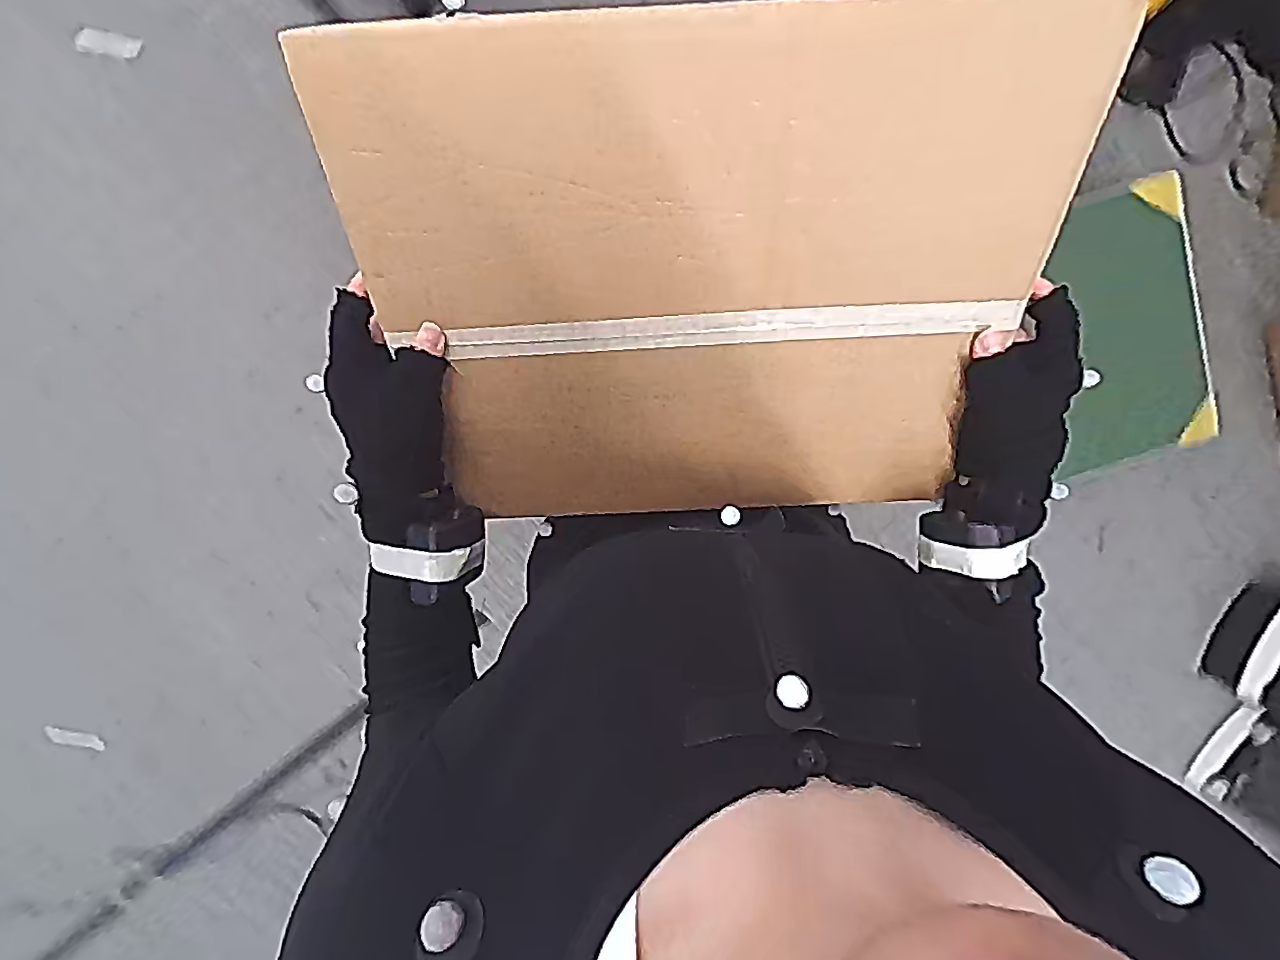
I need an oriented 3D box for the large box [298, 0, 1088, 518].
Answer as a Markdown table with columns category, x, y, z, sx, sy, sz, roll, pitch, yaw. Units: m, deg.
| category | x | y | z | sx | sy | sz | roll | pitch | yaw |
| --- | --- | --- | --- | --- | --- | --- | --- | --- | --- |
| large box | 0.026 | -0.194 | 0.475 | 0.408 | 0.320 | 0.320 | -4 | 130 | 0 |
